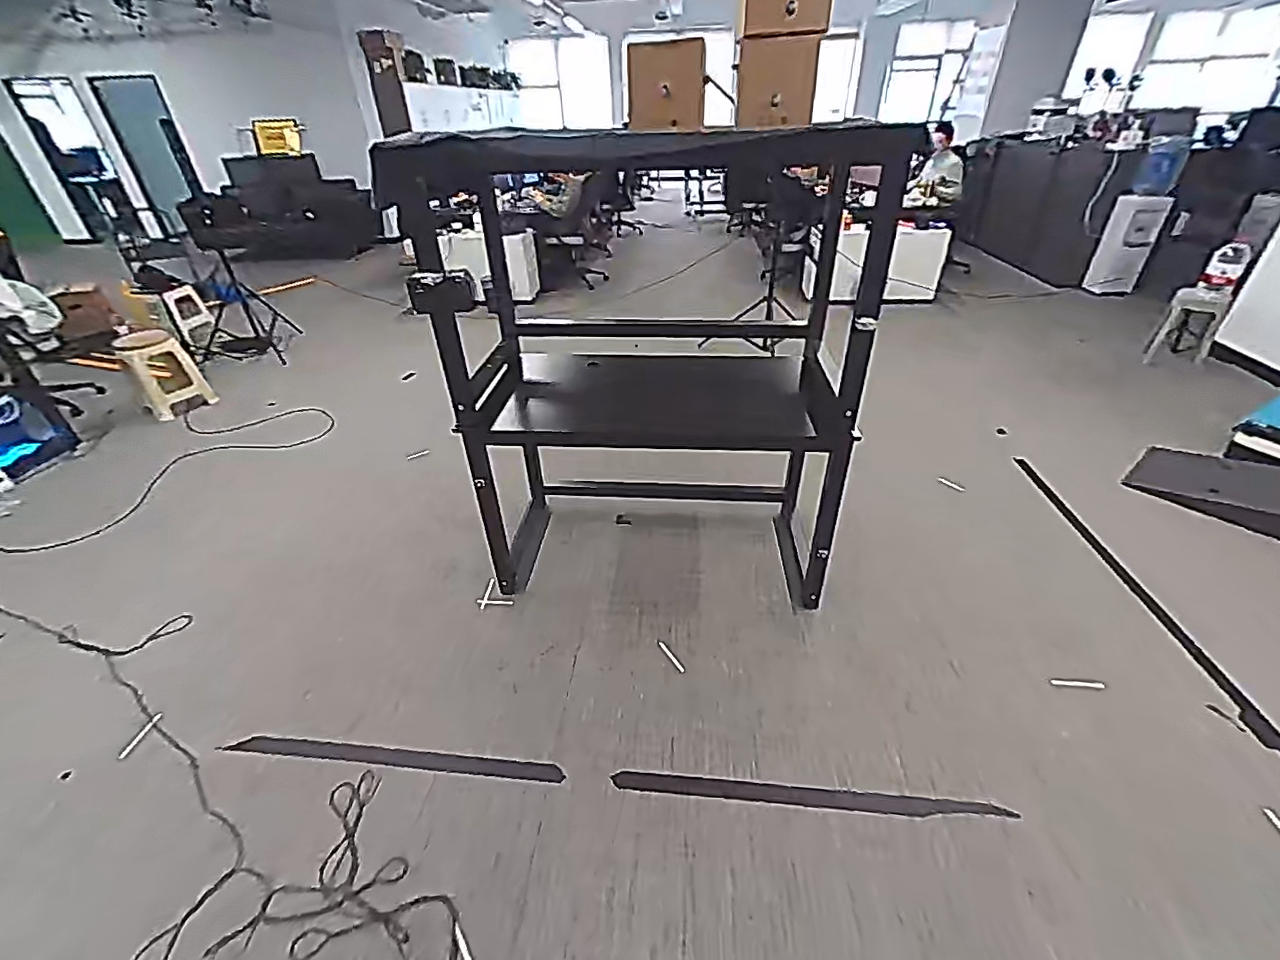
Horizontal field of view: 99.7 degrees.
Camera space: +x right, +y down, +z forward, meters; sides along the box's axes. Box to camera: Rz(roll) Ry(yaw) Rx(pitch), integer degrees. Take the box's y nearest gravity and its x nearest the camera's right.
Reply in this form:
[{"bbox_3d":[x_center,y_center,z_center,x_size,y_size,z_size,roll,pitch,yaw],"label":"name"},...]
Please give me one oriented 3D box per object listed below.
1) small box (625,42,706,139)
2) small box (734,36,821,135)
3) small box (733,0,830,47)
[{"bbox_3d":[0.064,-0.889,1.245,0.168,0.176,0.179,3,34,7],"label":"small box"},{"bbox_3d":[0.300,-0.880,1.218,0.168,0.176,0.179,1,34,7],"label":"small box"},{"bbox_3d":[0.294,-1.013,1.115,0.179,0.176,0.168,0,33,2],"label":"small box"}]
